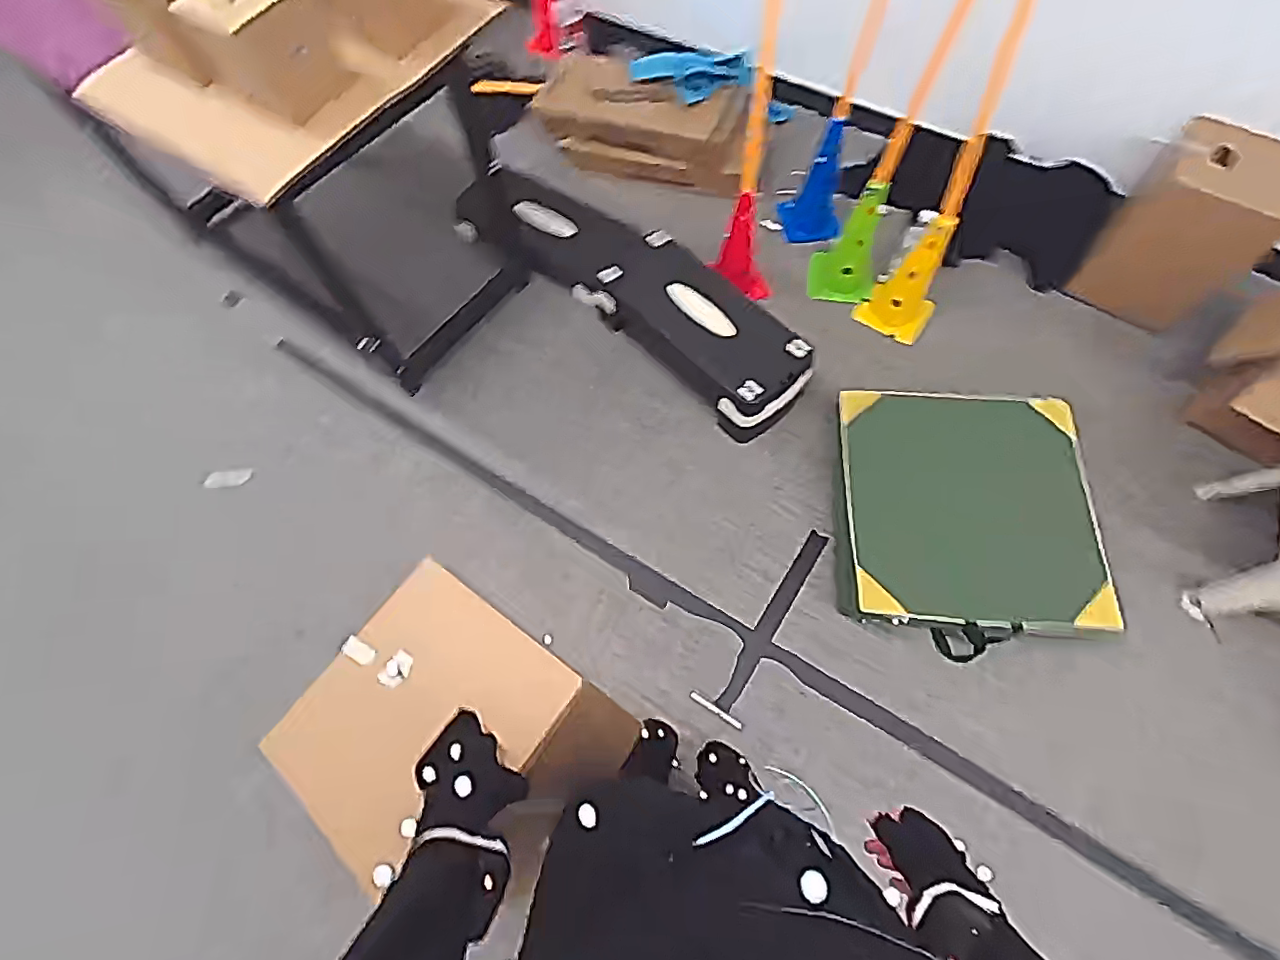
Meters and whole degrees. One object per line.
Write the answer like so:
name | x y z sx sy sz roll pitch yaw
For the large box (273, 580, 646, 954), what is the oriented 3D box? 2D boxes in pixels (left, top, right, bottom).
large box | -0.232 0.410 0.835 0.320 0.408 0.320 29 69 25
